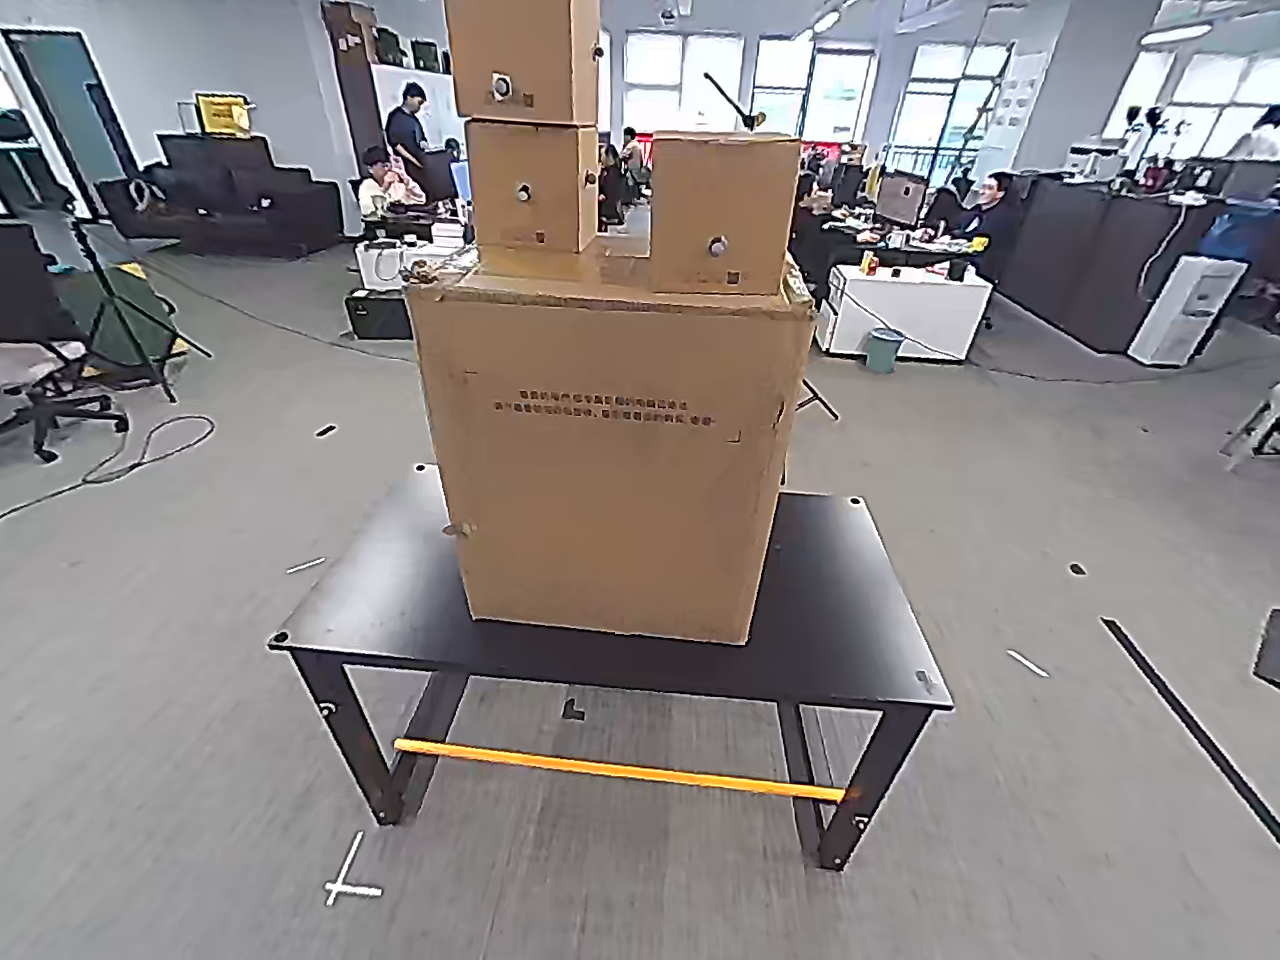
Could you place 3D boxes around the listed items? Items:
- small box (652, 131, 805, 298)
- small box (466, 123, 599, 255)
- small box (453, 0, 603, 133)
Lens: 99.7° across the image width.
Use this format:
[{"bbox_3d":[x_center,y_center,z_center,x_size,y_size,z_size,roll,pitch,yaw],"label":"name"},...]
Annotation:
[{"bbox_3d":[0.101,-0.348,0.703,0.168,0.176,0.179,2,36,2],"label":"small box"},{"bbox_3d":[-0.157,-0.465,0.858,0.168,0.176,0.179,6,35,3],"label":"small box"},{"bbox_3d":[-0.148,-0.591,0.754,0.168,0.176,0.179,5,34,5],"label":"small box"}]
